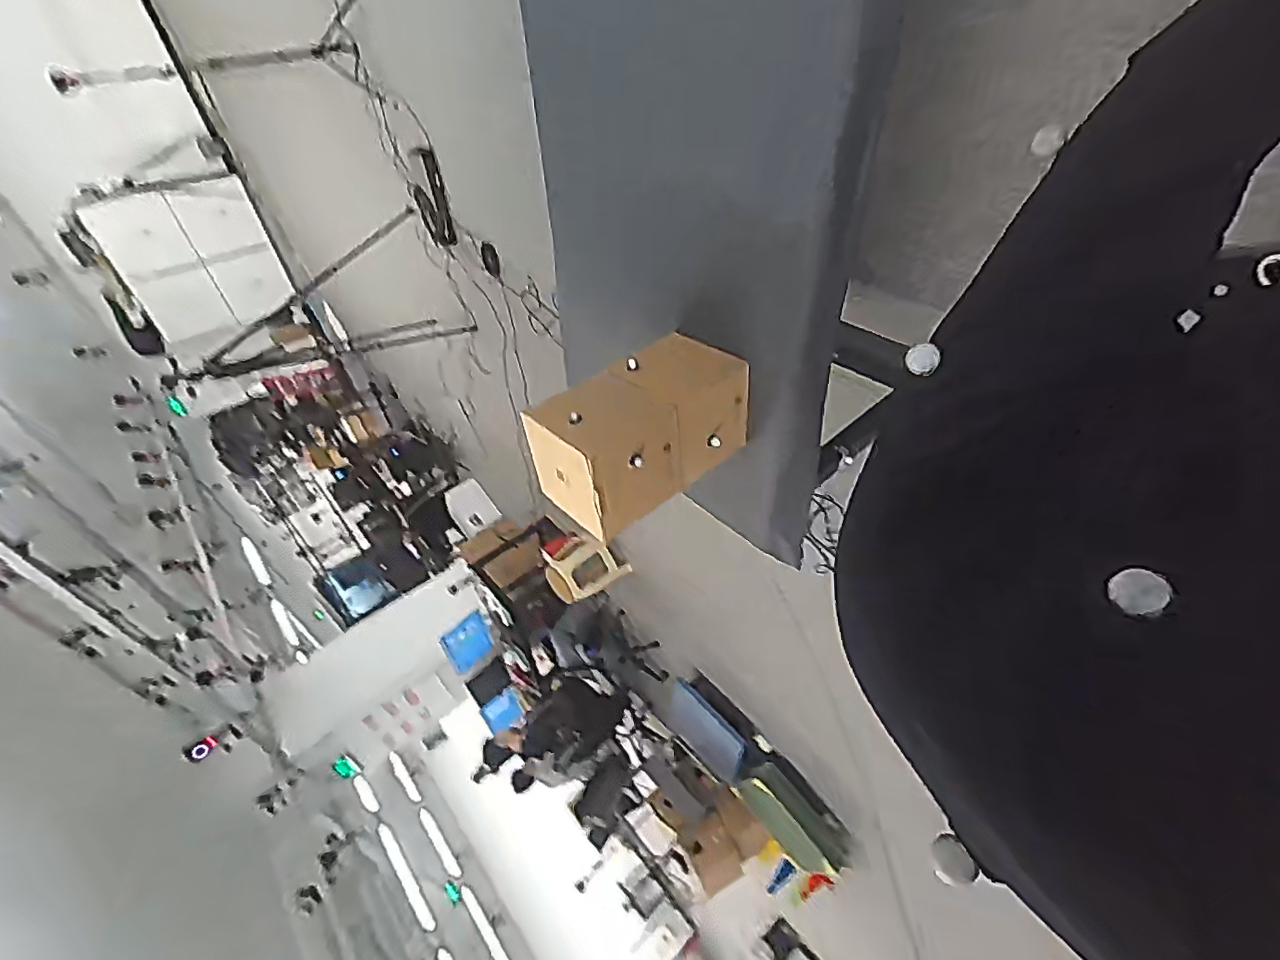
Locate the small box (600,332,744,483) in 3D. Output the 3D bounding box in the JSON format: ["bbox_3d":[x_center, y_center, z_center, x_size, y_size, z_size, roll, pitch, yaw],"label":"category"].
[{"bbox_3d":[0.060,-0.132,0.919,0.179,0.176,0.168,34,145,37],"label":"small box"}]

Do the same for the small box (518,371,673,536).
[{"bbox_3d":[-0.060,-0.051,0.844,0.179,0.176,0.168,34,144,39],"label":"small box"}]
